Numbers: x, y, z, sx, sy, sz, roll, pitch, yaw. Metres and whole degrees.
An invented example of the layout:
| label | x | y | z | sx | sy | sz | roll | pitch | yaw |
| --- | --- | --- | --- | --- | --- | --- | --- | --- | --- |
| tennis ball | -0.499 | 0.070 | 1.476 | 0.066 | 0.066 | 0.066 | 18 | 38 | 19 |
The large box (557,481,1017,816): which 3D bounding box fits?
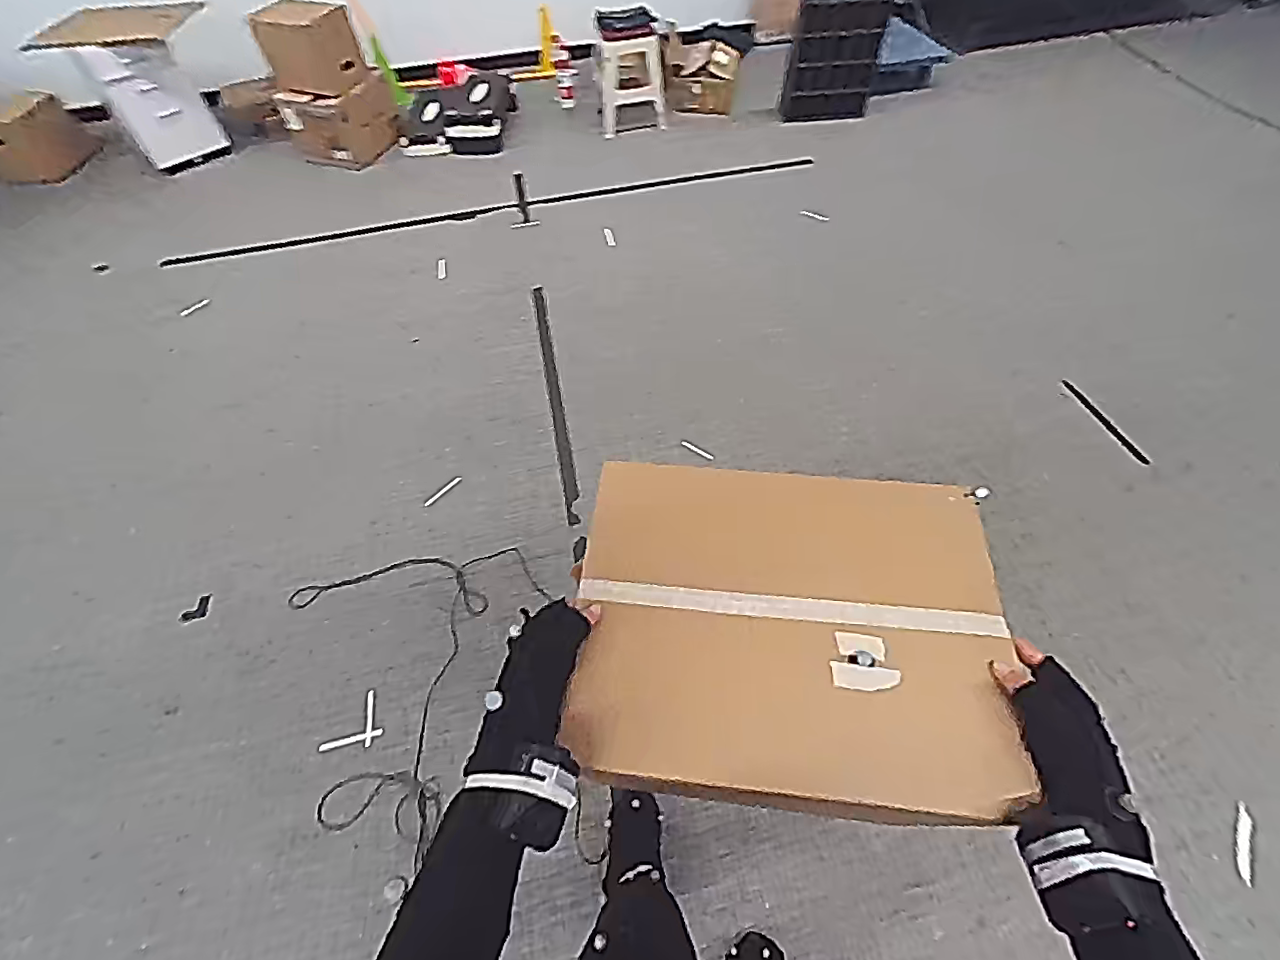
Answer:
| label | x | y | z | sx | sy | sz | roll | pitch | yaw |
| --- | --- | --- | --- | --- | --- | --- | --- | --- | --- |
| large box | 0.136 | 0.218 | 0.670 | 0.408 | 0.320 | 0.320 | 3 | 58 | 4 |
